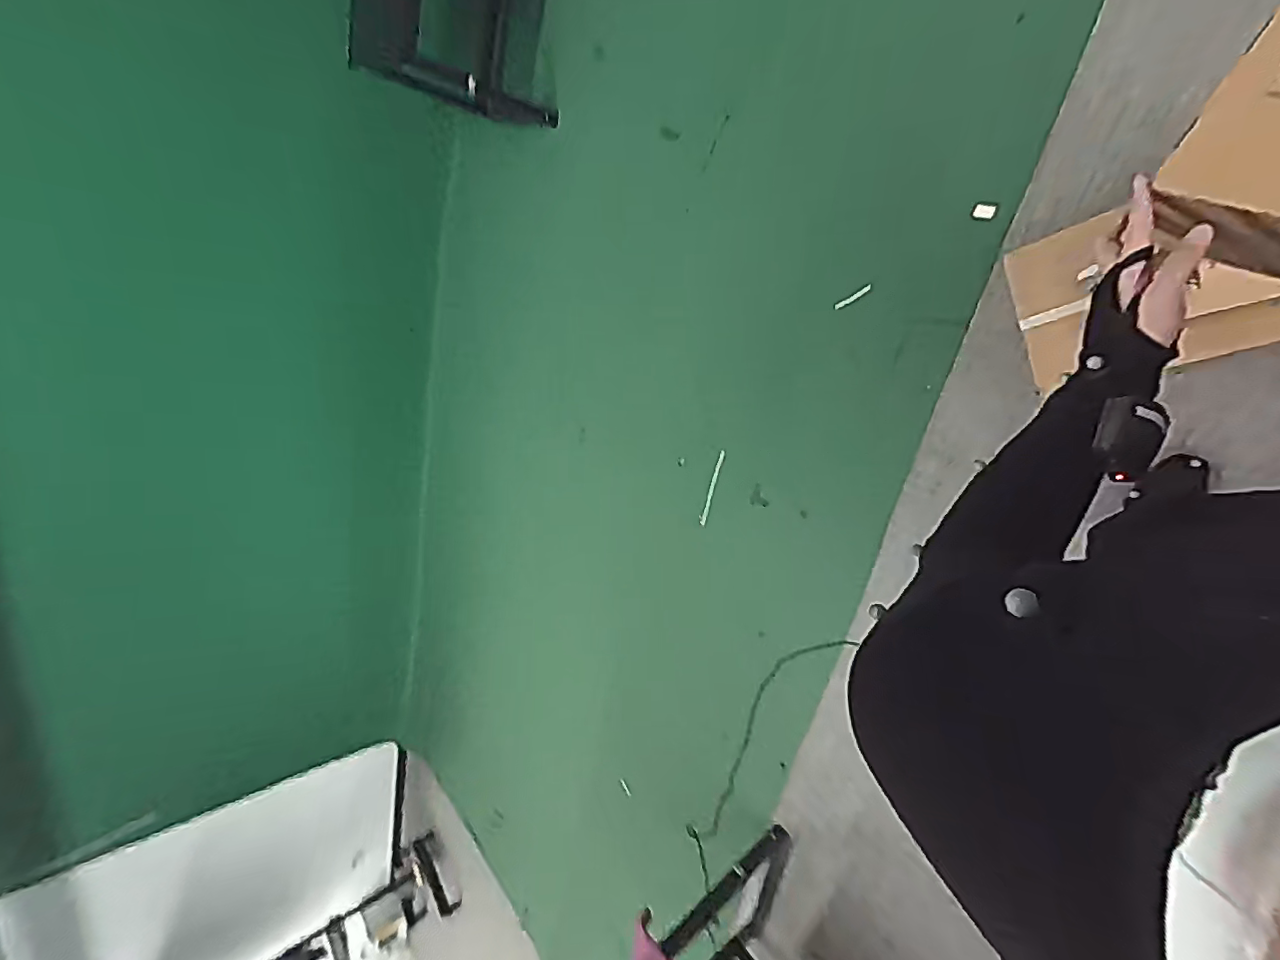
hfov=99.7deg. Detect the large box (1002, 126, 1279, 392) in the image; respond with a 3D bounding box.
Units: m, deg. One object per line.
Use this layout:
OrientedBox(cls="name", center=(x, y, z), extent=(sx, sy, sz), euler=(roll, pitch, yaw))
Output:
OrientedBox(cls="large box", center=(1.024, -0.386, 1.074), extent=(0.408, 0.320, 0.320), euler=(-17, 83, 47))
